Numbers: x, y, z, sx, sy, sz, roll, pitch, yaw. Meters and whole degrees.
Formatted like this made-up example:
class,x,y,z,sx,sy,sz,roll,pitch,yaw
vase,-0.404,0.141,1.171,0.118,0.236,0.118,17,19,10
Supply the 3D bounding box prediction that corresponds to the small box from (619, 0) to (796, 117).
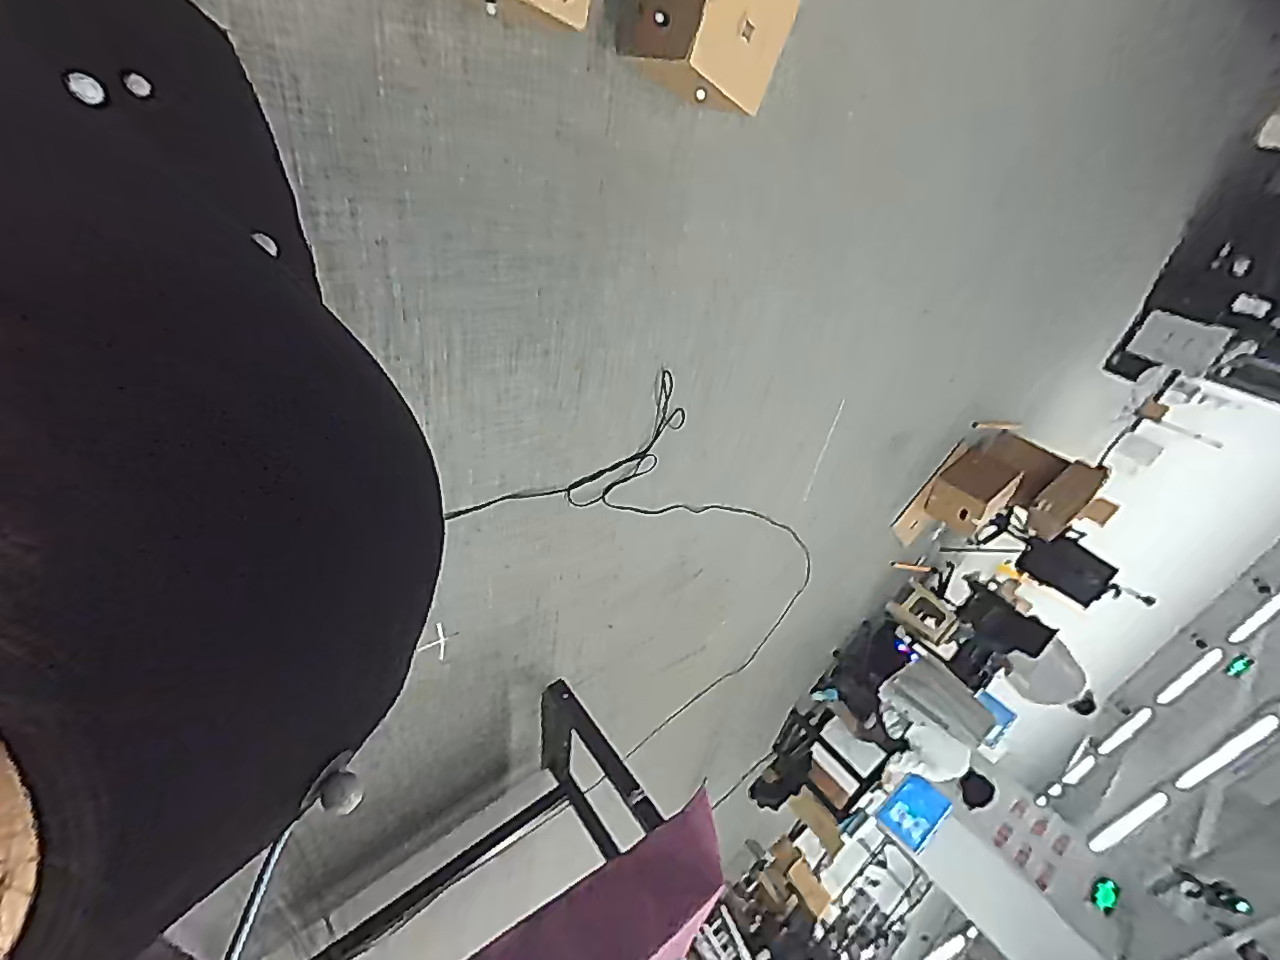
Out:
class,x,y,z,sx,sy,sz,roll,pitch,yaw
small box,0.097,-0.694,0.831,0.179,0.176,0.168,-2,123,-46
